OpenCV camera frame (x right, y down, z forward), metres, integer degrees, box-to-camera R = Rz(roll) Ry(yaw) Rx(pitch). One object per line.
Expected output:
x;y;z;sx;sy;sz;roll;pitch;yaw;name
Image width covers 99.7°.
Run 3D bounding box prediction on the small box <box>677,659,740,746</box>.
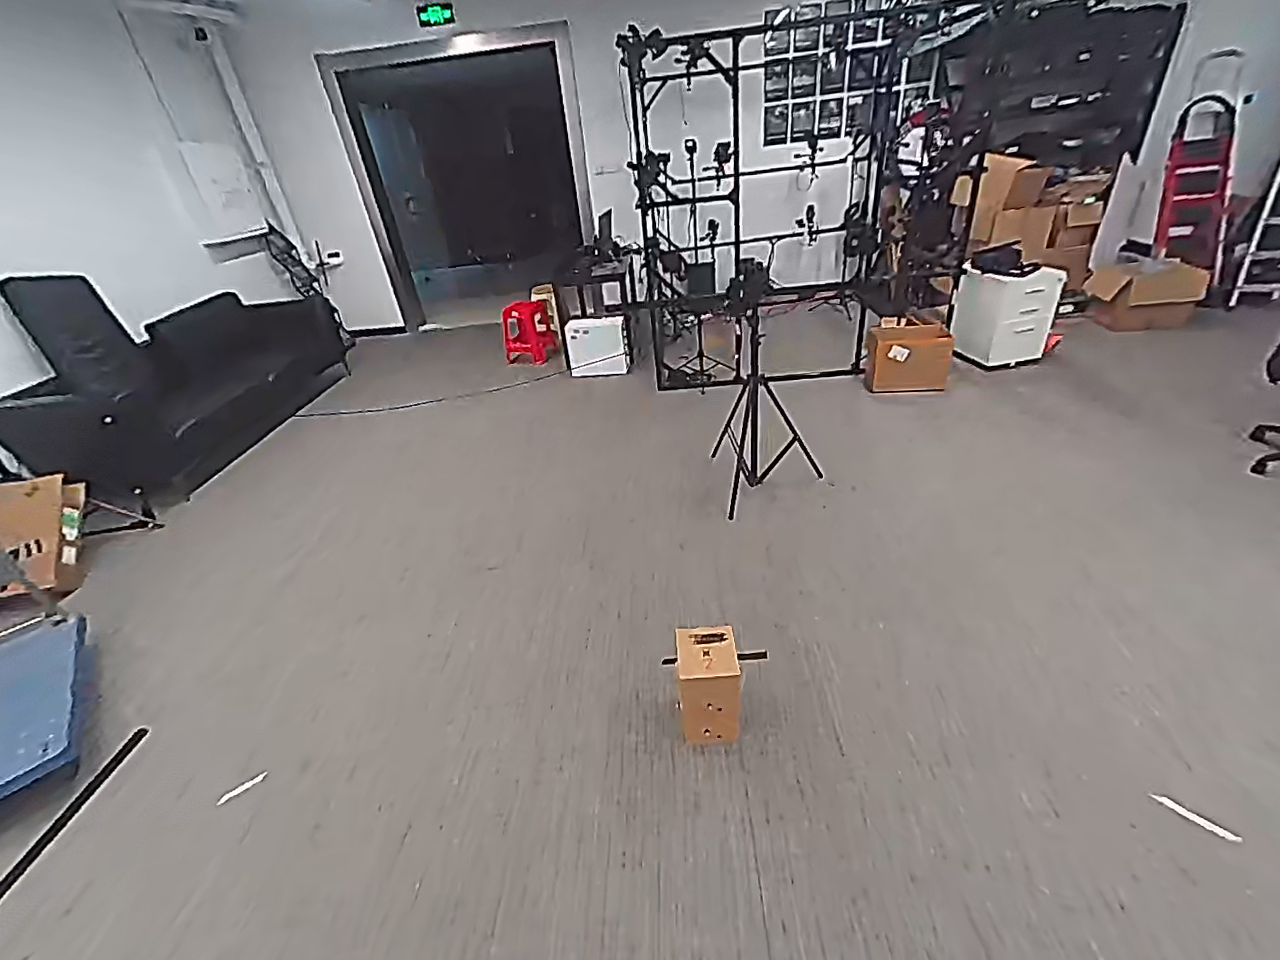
0.206;0.677;1.648;0.168;0.176;0.179;-7;32;0;small box
